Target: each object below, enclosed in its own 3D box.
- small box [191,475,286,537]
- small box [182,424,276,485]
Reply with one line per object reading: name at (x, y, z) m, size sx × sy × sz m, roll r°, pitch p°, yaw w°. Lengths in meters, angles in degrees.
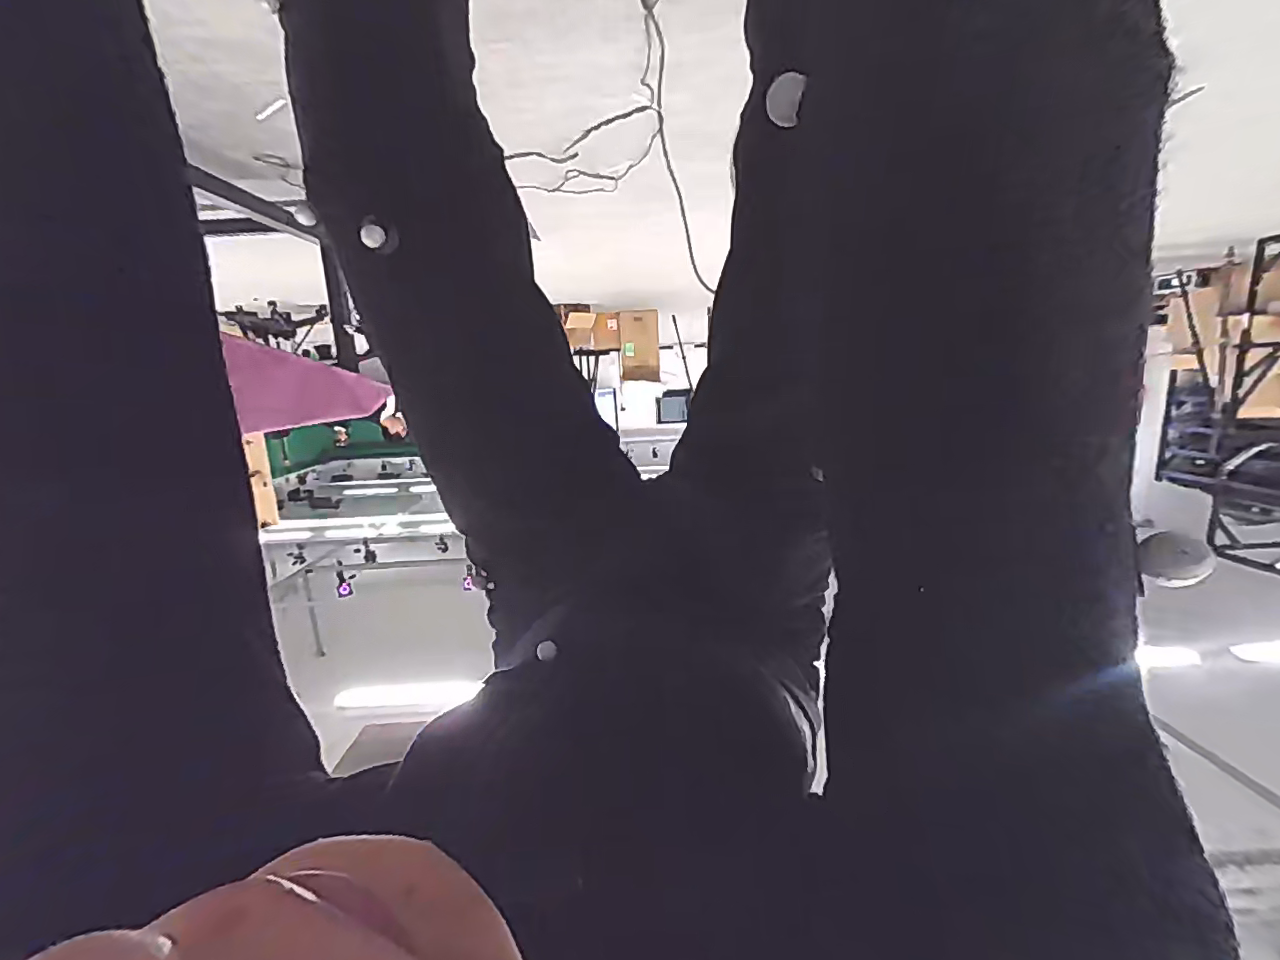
small box at (-1.285, 0.075, 1.733) m, size 0.179 × 0.176 × 0.168 m, roll -1°, pitch -169°, yaw 4°
small box at (-1.291, -0.085, 1.699) m, size 0.179 × 0.176 × 0.168 m, roll -3°, pitch -168°, yaw 0°
